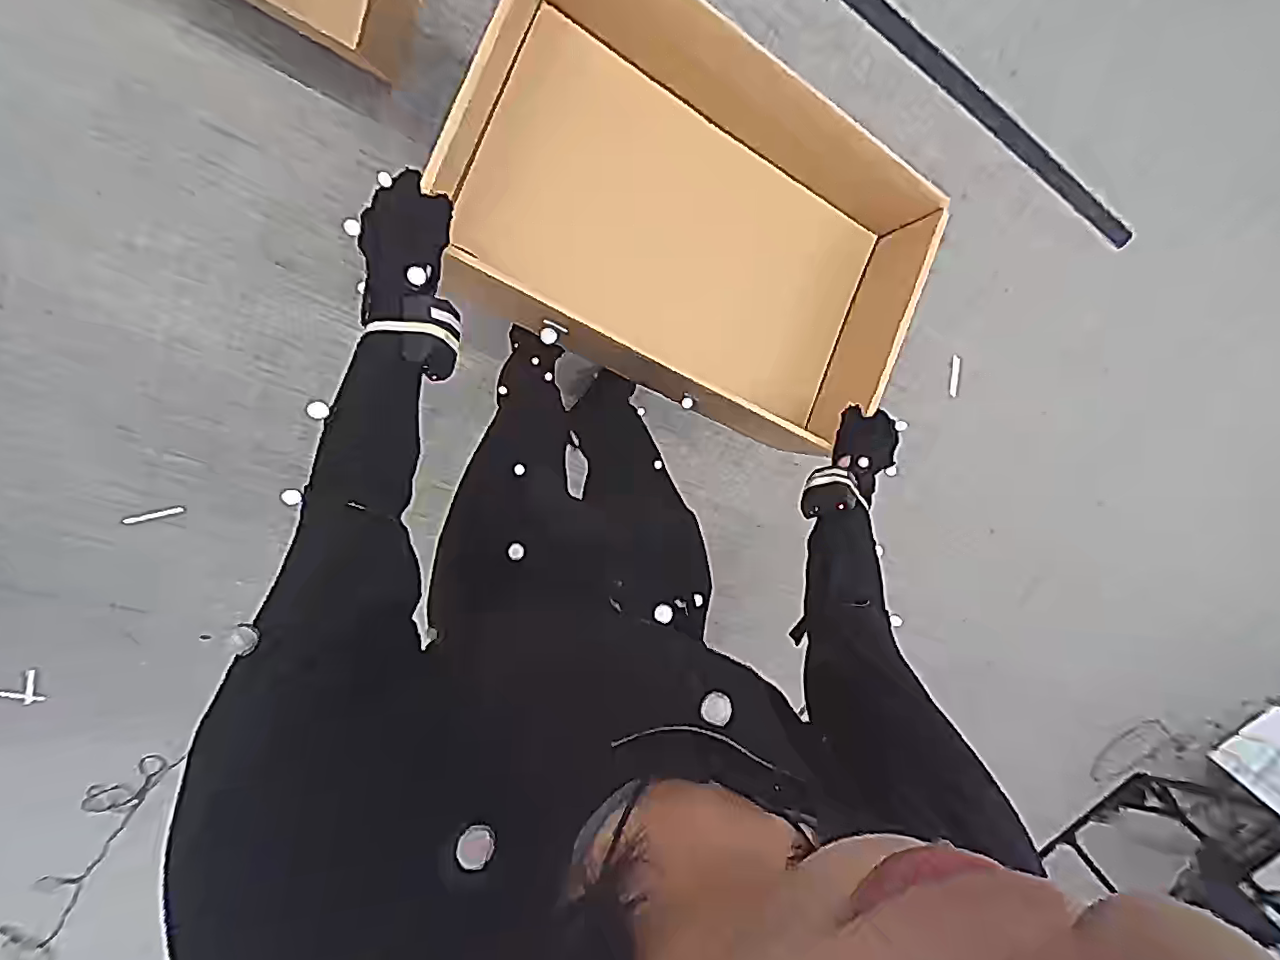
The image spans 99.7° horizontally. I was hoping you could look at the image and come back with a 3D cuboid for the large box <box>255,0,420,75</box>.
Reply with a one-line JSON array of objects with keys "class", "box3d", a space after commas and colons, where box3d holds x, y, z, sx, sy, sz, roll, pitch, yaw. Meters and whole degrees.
[{"class": "large box", "box3d": [-0.539, -0.886, 0.784, 0.408, 0.320, 0.320, 19, 113, -22]}]
